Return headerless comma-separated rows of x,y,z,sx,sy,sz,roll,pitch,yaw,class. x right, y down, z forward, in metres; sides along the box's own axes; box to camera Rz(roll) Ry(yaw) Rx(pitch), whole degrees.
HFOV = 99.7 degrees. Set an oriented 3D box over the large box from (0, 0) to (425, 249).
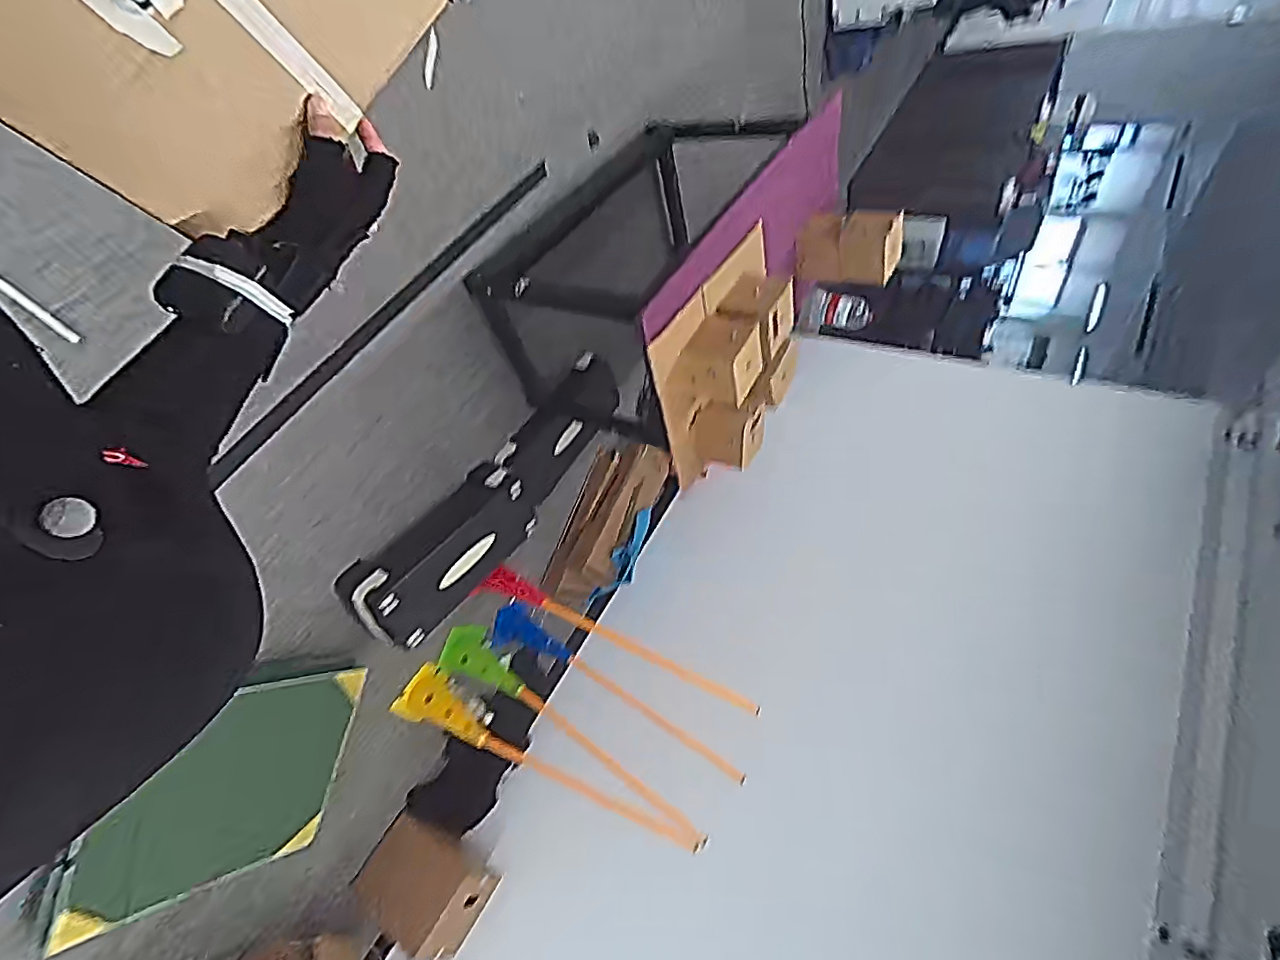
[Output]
-0.438,-0.447,0.361,0.320,0.320,0.408,-54,152,-1,large box
